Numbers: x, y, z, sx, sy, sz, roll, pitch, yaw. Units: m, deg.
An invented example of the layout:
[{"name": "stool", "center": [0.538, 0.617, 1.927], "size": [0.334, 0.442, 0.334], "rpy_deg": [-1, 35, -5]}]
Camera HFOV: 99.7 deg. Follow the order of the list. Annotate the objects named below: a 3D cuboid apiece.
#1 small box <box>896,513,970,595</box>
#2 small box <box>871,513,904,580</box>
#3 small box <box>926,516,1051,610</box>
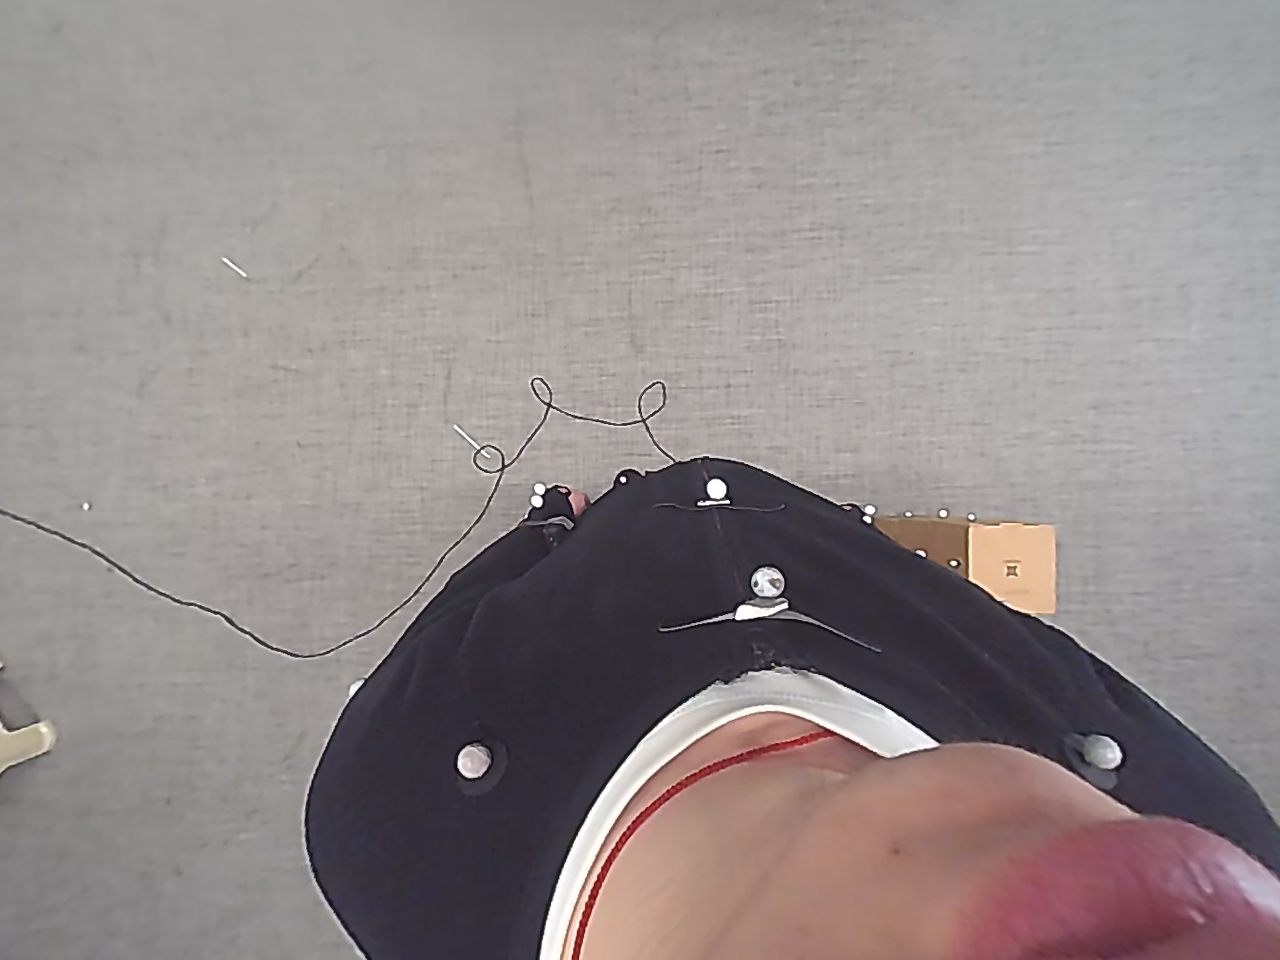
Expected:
[{"name": "small box", "center": [0.736, 0.172, 1.304], "size": [0.168, 0.176, 0.179], "rpy_deg": [-1, 90, 2]}, {"name": "small box", "center": [0.743, 0.178, 1.468], "size": [0.179, 0.176, 0.168], "rpy_deg": [0, 91, 2]}, {"name": "small box", "center": [0.726, 0.167, 1.143], "size": [0.168, 0.176, 0.179], "rpy_deg": [-1, 91, 3]}]
